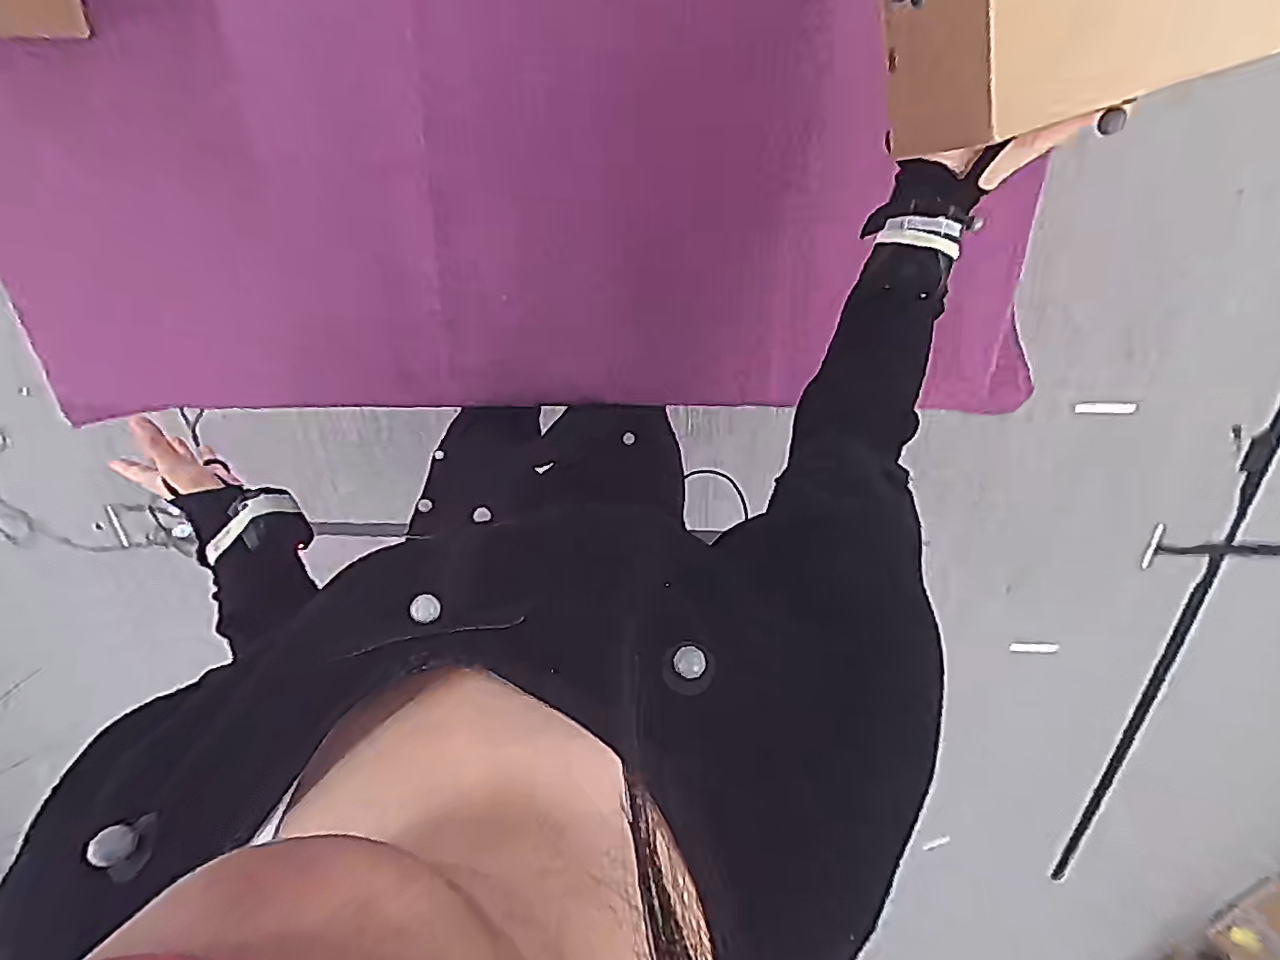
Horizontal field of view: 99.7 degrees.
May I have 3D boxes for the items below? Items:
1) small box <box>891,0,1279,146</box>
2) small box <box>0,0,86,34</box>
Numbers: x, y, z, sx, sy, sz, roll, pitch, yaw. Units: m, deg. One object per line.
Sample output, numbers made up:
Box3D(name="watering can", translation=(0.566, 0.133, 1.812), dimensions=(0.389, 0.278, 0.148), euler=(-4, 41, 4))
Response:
Box3D(name="small box", translation=(0.242, -0.299, 0.289), dimensions=(0.179, 0.176, 0.168), euler=(-12, 116, 13))
Box3D(name="small box", translation=(-0.647, -0.499, 0.449), dimensions=(0.179, 0.176, 0.168), euler=(2, 117, 0))
